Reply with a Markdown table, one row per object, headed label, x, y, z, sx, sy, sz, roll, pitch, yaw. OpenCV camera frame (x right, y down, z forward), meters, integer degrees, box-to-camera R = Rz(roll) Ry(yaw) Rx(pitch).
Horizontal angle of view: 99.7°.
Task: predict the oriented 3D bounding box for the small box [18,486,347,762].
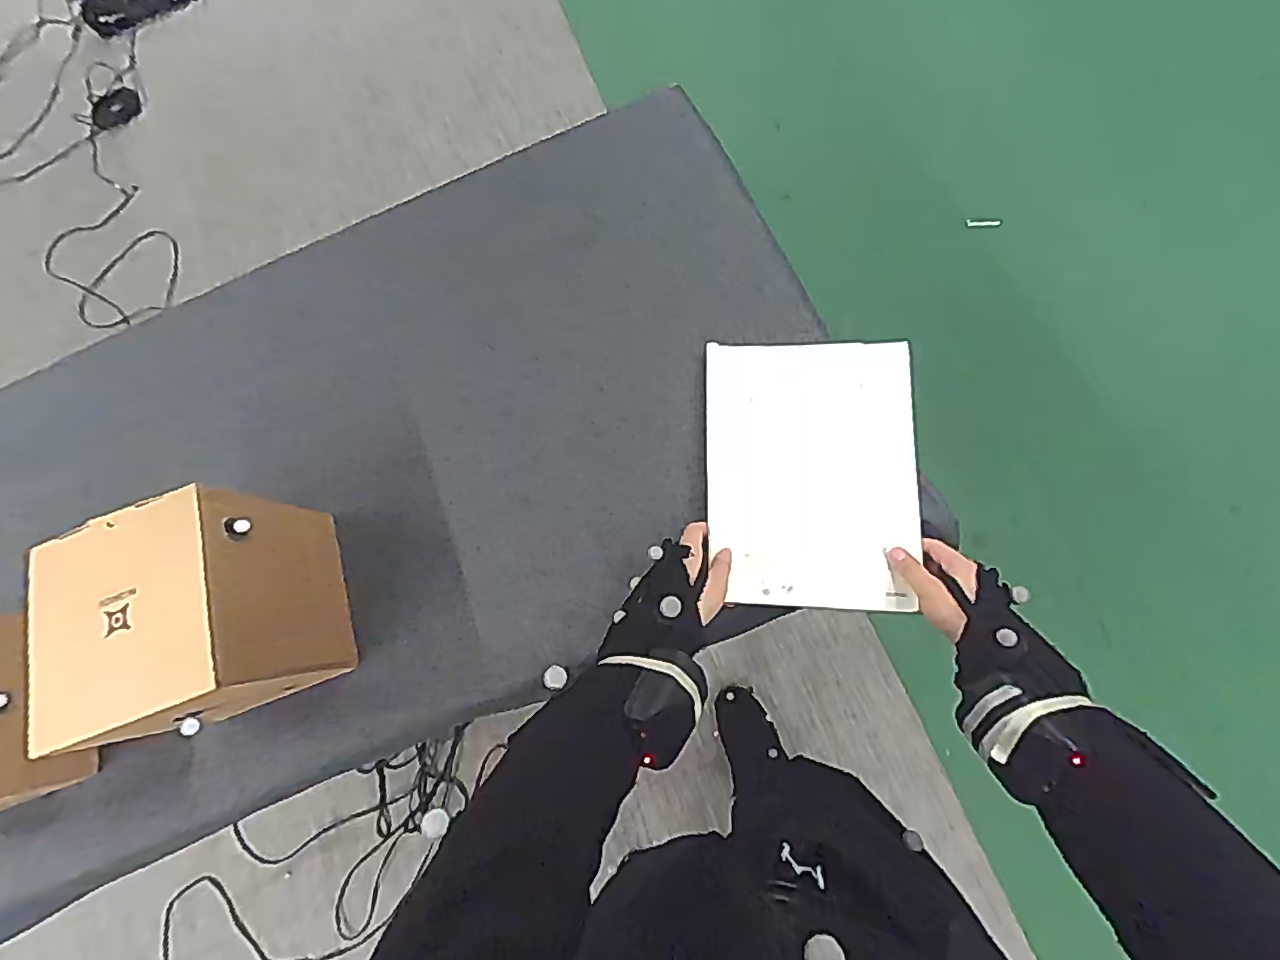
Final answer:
| label | x | y | z | sx | sy | sz | roll | pitch | yaw |
| --- | --- | --- | --- | --- | --- | --- | --- | --- | --- |
| small box | -0.405 | 0.128 | 0.503 | 0.168 | 0.176 | 0.179 | -21 | 73 | 4 |
